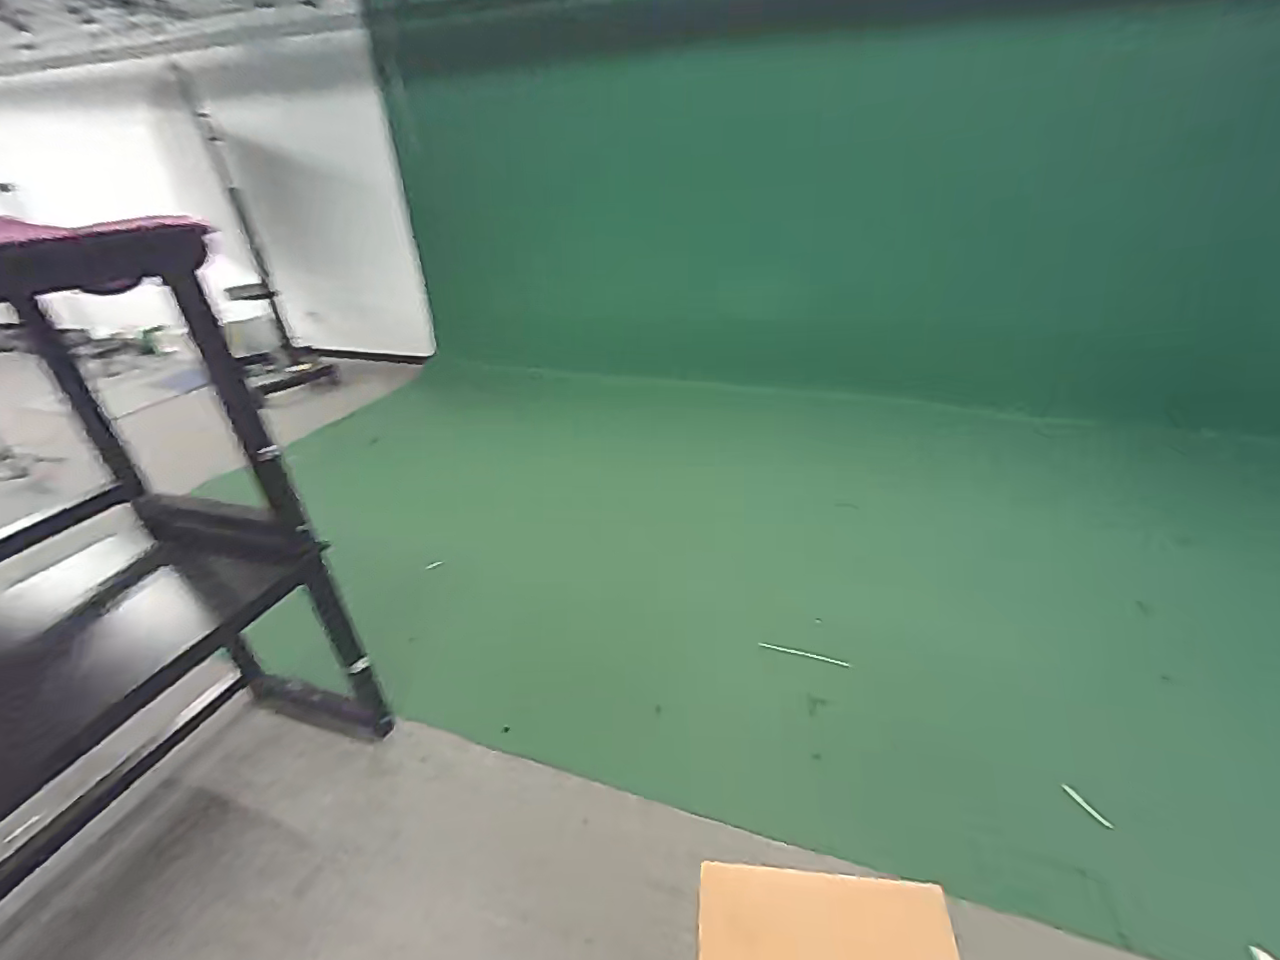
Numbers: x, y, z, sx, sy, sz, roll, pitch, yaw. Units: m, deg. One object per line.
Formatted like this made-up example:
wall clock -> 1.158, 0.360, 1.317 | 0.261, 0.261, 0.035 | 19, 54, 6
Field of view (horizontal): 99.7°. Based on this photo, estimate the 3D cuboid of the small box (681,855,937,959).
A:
small box -> 0.110, 0.396, 0.381 | 0.168, 0.176, 0.179 | 1, 43, 6
